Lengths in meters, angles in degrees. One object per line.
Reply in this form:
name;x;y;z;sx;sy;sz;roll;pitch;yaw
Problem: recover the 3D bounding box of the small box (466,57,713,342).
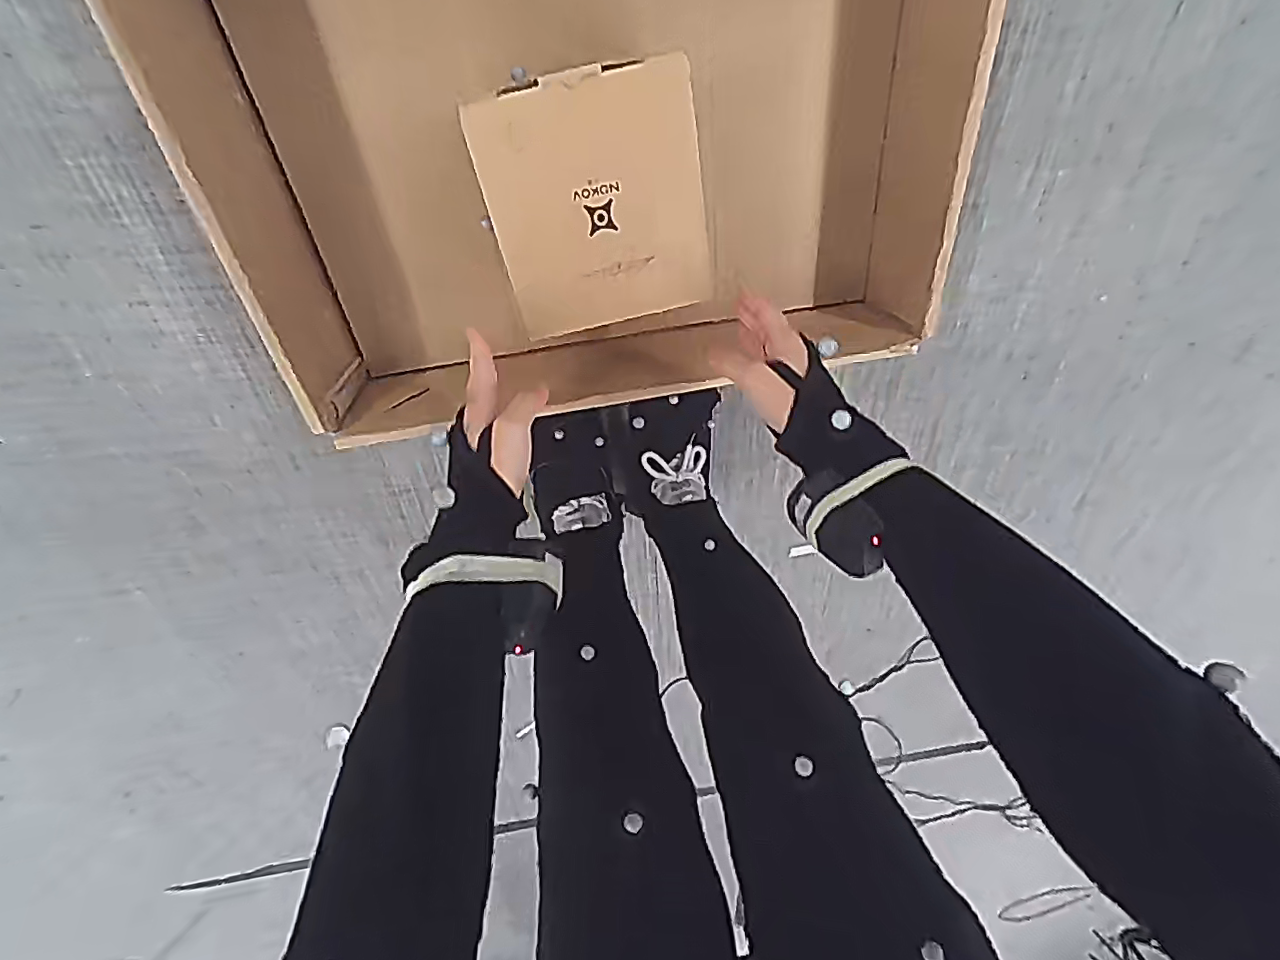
small box;-0.041;-0.252;0.487;0.168;0.176;0.179;-13;127;0
